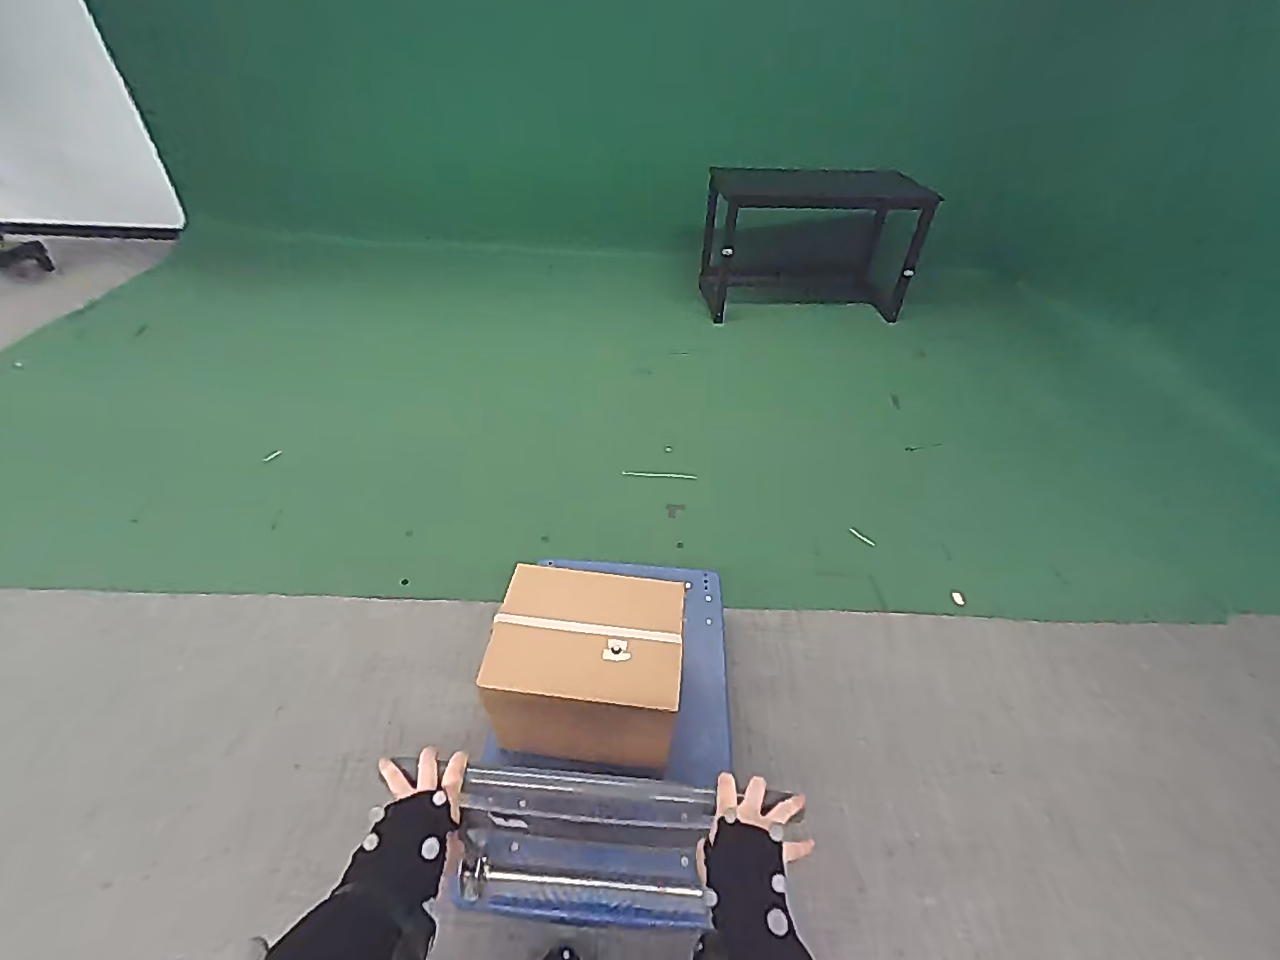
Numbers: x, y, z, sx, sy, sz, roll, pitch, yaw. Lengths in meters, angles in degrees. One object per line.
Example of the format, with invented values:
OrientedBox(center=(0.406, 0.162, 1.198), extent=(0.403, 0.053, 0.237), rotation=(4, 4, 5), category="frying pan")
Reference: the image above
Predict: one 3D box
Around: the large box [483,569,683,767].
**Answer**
OrientedBox(center=(-0.118, 0.446, 1.286), extent=(0.408, 0.320, 0.320), rotation=(7, 42, 2), category="large box")
